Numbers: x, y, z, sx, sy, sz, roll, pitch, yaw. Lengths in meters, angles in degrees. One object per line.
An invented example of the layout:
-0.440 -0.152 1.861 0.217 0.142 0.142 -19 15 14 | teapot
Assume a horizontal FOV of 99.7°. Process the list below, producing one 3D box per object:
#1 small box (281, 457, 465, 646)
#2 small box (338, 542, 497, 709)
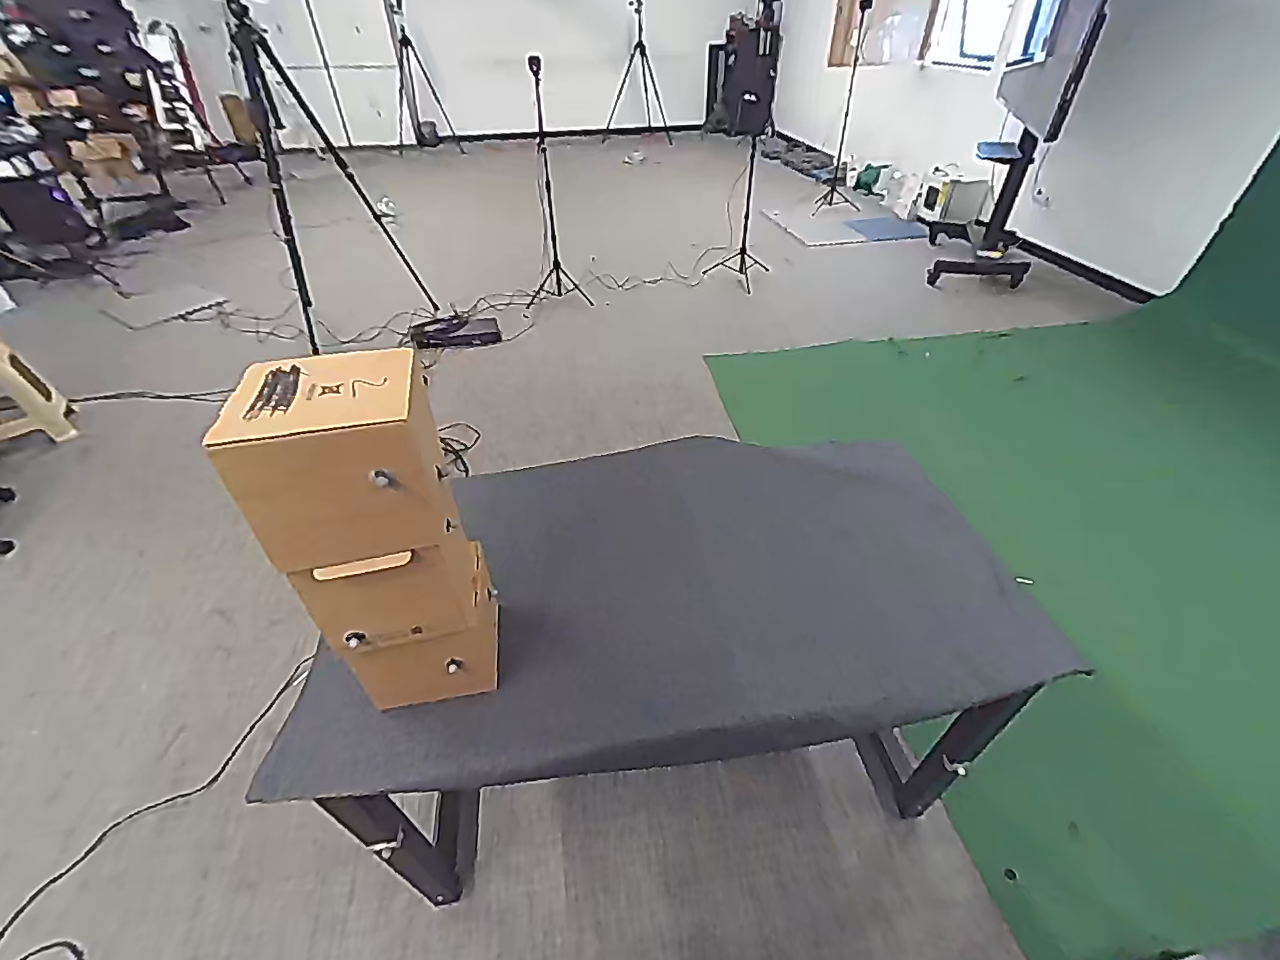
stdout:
-0.332 0.097 0.714 0.168 0.176 0.179 -10 39 -11 | small box
-0.320 0.221 0.823 0.179 0.176 0.168 -9 40 -7 | small box
